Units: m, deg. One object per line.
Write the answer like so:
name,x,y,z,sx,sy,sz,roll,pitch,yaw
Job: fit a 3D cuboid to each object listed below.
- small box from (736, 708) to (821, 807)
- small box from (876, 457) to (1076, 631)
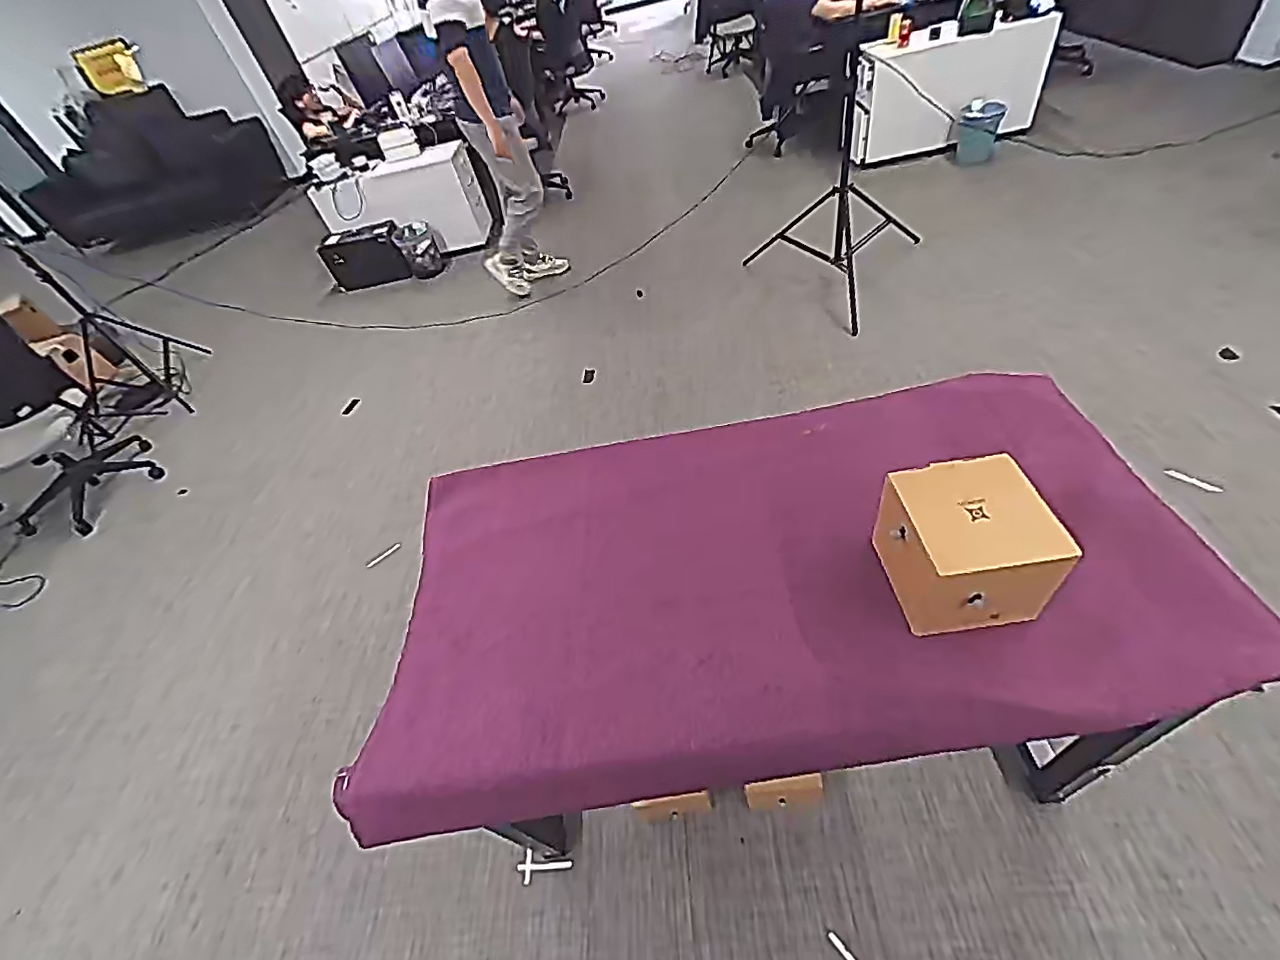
small box,0.325,0.662,1.281,0.168,0.176,0.179,-7,46,7
small box,0.450,0.097,0.760,0.168,0.176,0.179,-10,46,6
